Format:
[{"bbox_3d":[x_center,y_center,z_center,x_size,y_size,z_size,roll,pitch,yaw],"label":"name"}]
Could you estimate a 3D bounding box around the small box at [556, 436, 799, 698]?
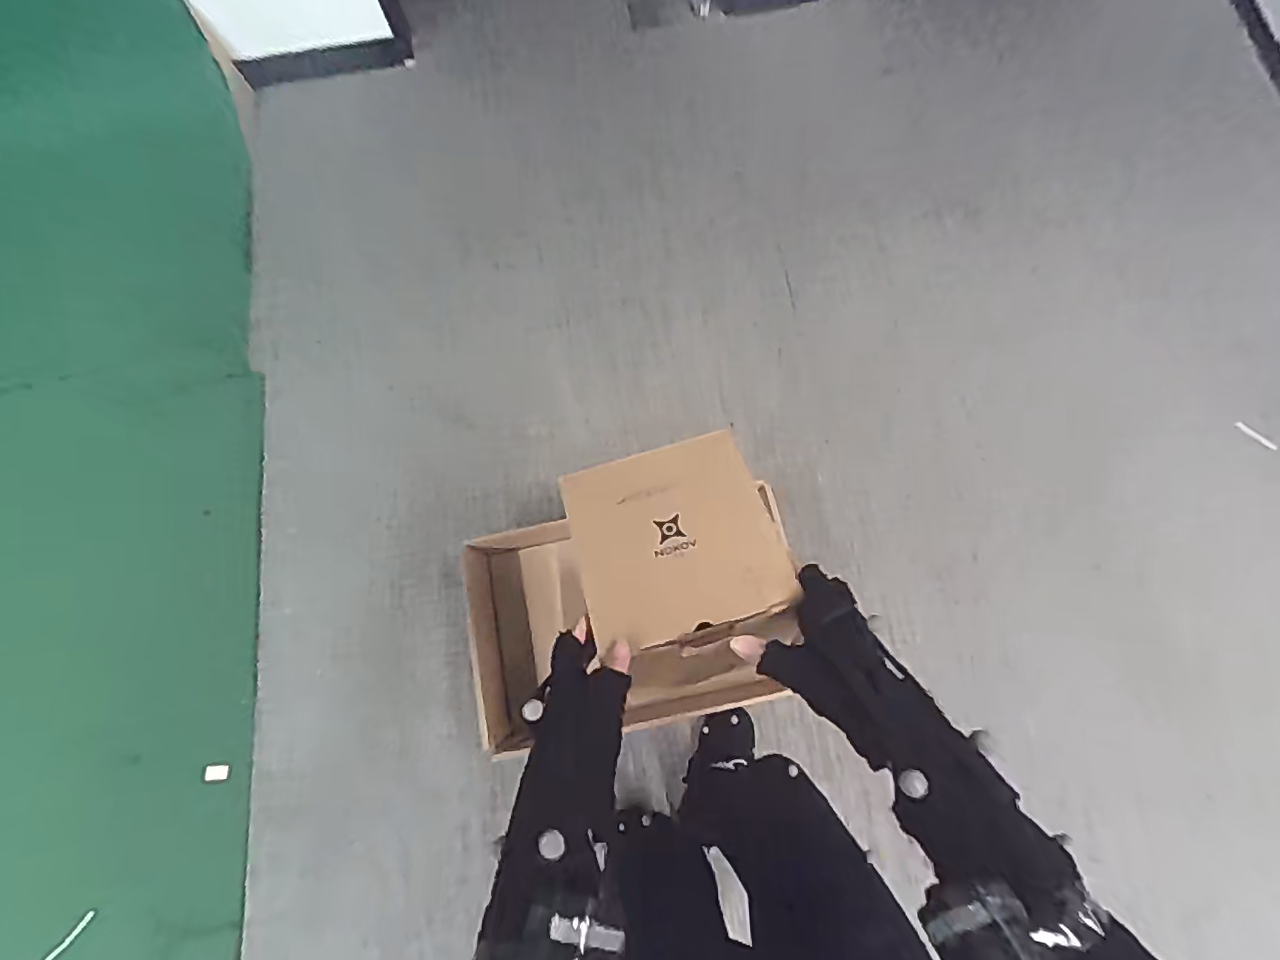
[{"bbox_3d":[0.033,0.093,0.513,0.168,0.176,0.179,-17,57,-2],"label":"small box"}]
